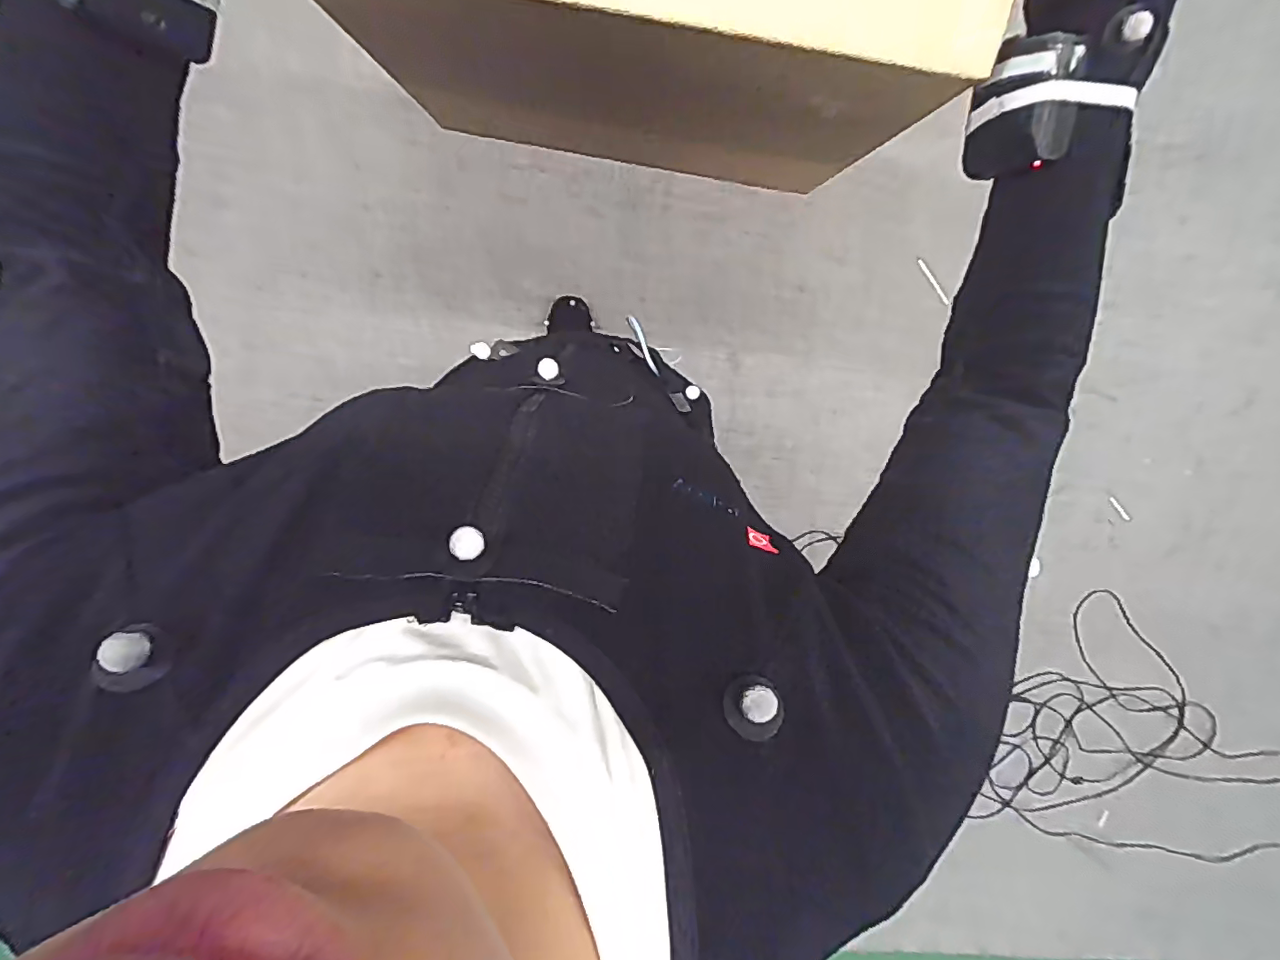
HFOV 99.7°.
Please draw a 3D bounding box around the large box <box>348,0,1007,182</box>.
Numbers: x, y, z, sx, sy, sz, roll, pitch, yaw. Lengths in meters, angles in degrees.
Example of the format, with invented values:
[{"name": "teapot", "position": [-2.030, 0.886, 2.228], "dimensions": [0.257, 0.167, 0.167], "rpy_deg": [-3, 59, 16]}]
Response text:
[{"name": "large box", "position": [0.019, -0.451, 0.399], "dimensions": [0.408, 0.320, 0.320], "rpy_deg": [7, 107, -5]}]
